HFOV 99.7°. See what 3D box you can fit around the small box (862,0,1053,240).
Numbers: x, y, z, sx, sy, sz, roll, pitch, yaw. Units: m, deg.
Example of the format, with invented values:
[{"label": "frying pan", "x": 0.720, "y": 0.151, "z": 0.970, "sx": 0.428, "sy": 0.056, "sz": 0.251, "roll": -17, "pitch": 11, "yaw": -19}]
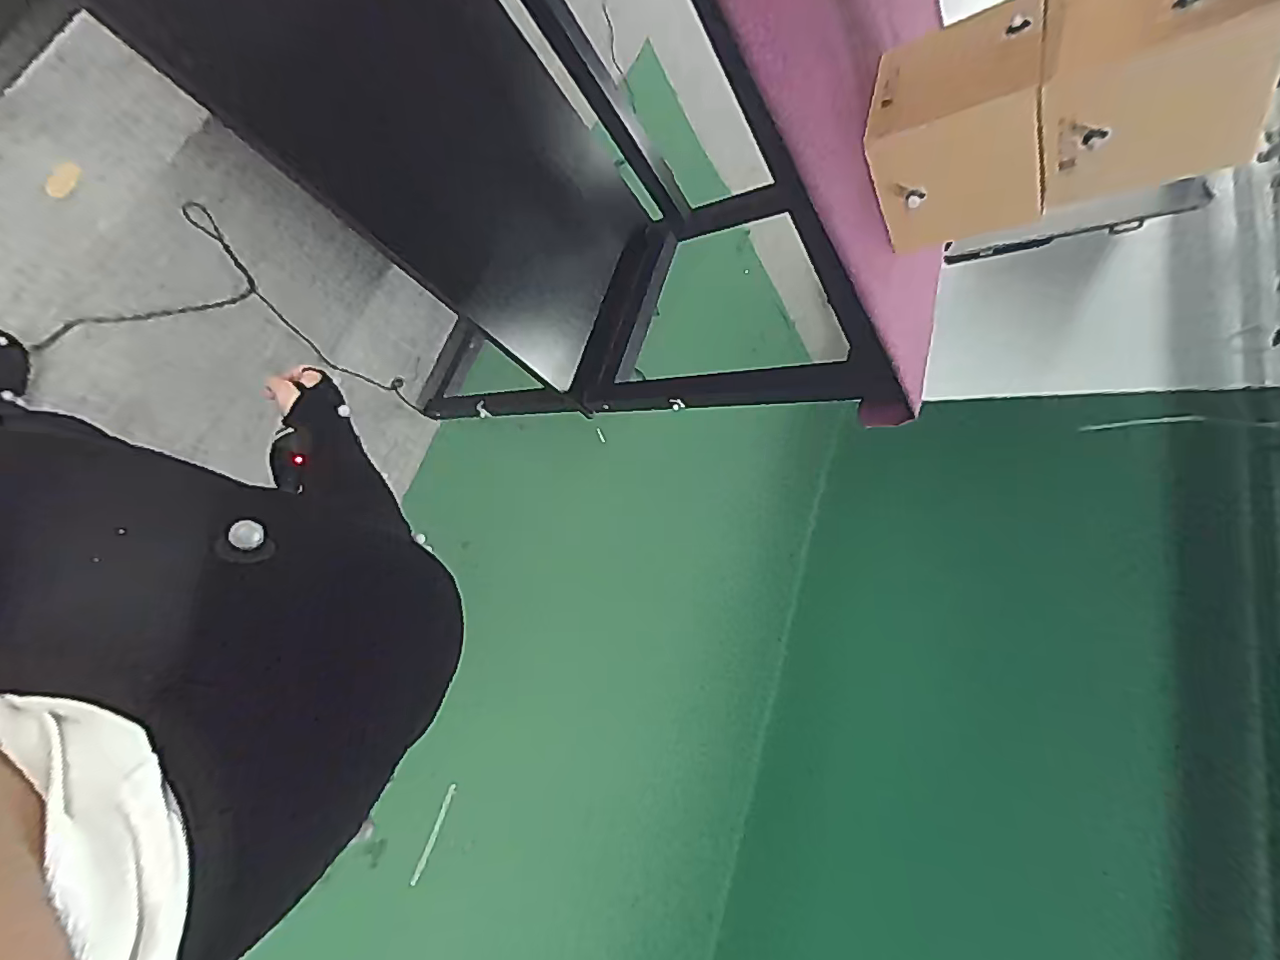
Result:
[{"label": "small box", "x": 0.383, "y": -0.416, "z": 0.647, "sx": 0.179, "sy": 0.176, "sz": 0.168, "roll": 37, "pitch": 62, "yaw": -46}]
